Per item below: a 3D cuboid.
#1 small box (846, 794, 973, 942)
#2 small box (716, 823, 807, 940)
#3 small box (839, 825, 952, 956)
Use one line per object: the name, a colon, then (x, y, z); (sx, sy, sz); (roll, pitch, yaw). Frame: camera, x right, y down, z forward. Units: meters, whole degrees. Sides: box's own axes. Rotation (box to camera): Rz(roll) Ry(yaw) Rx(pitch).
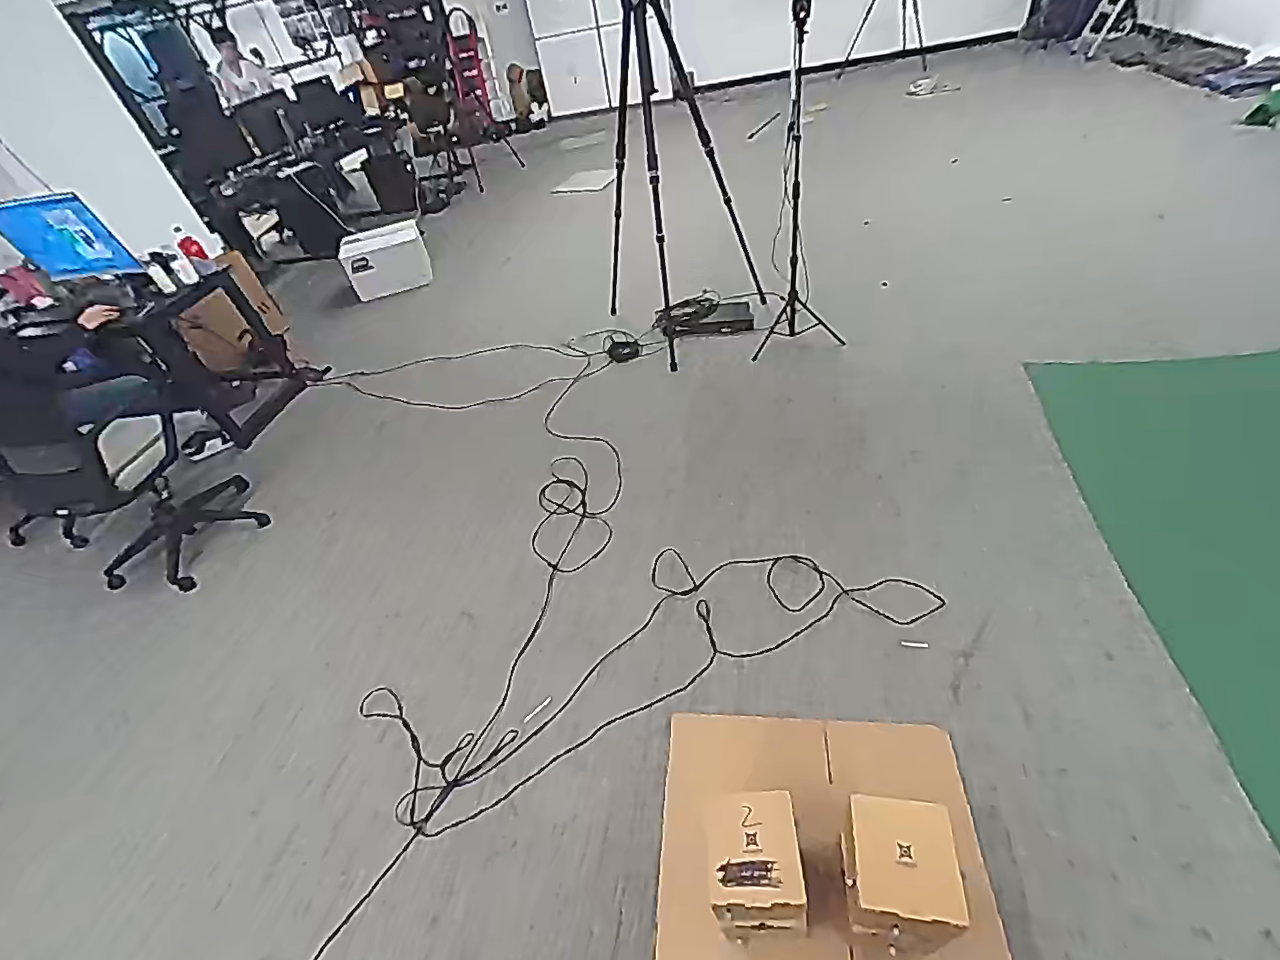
small box: (0.471, 0.699, 0.977); (0.168, 0.176, 0.179); (-1, 45, 14)
small box: (0.251, 0.836, 1.125); (0.168, 0.176, 0.179); (-6, 43, 9)
small box: (0.498, 0.819, 1.082); (0.168, 0.176, 0.179); (-4, 44, 13)
